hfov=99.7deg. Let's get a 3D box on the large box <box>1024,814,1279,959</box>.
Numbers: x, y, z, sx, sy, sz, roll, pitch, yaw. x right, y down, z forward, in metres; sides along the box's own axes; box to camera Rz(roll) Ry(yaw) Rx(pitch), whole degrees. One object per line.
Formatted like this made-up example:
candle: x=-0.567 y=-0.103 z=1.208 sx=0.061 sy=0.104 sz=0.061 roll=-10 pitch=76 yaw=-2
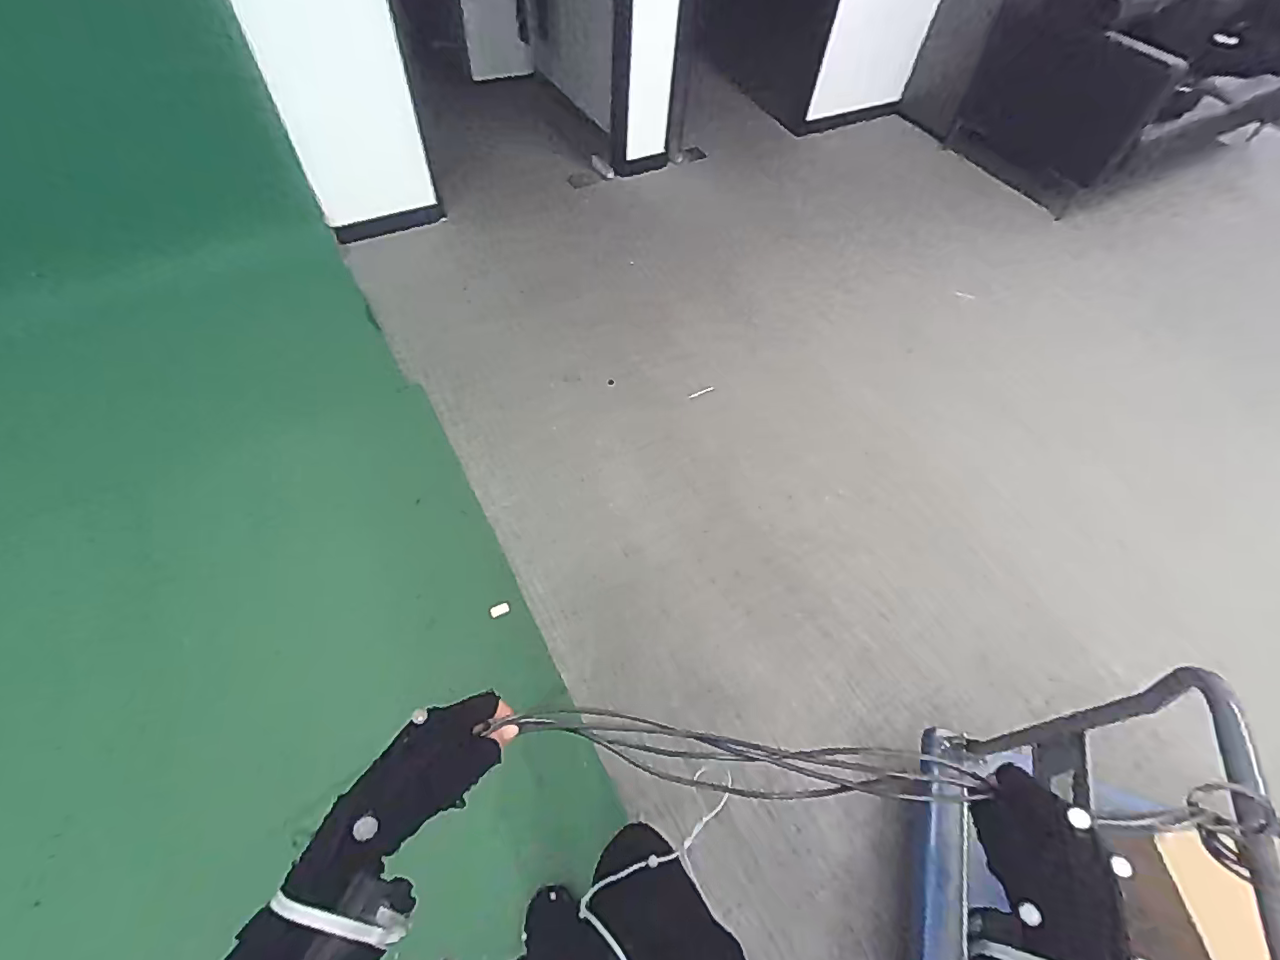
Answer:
large box: x=0.963 y=0.813 z=0.906 sx=0.320 sy=0.320 sz=0.408 roll=0 pitch=55 yaw=-5
